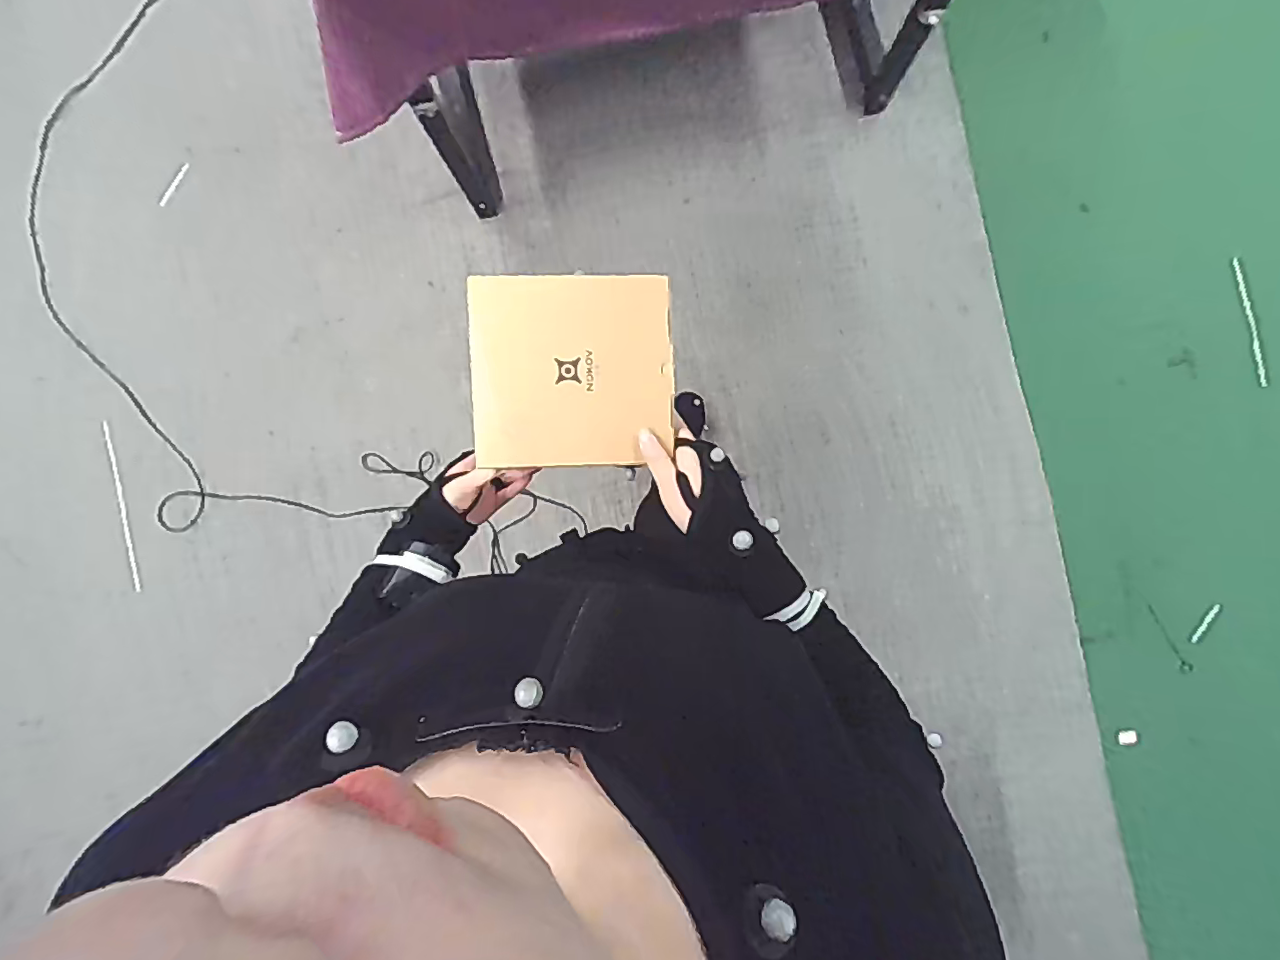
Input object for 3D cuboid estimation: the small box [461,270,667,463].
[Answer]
[{"bbox_3d":[-0.072,-0.103,0.552,0.179,0.176,0.168,-3,92,-6],"label":"small box"}]
